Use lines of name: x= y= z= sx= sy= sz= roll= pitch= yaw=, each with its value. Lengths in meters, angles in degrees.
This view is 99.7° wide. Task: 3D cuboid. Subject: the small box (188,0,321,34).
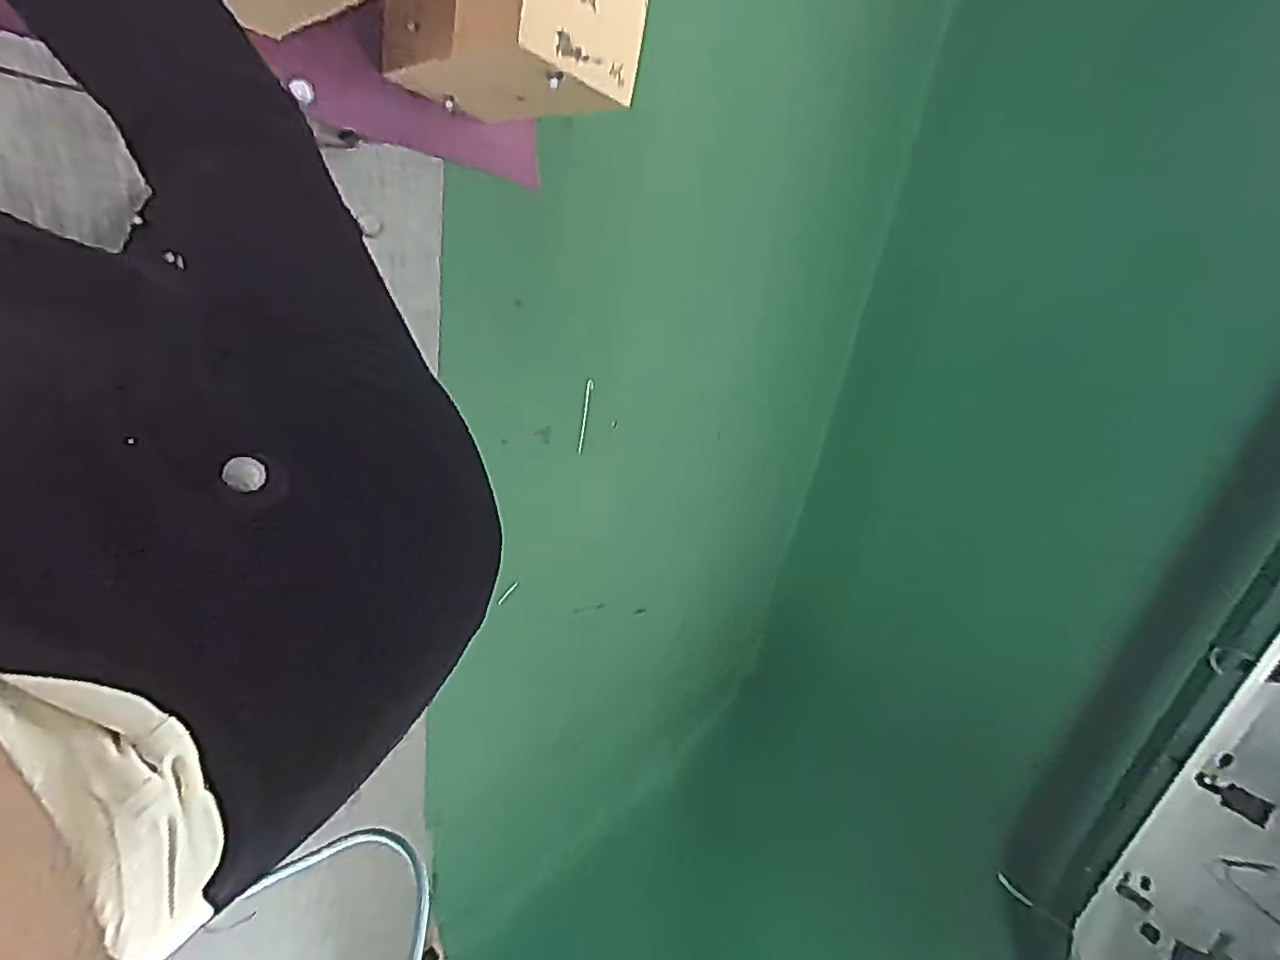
small box: x=-0.424 y=-0.575 z=0.522 sx=0.168 sy=0.176 sz=0.179 roll=-11 pitch=117 yaw=-46

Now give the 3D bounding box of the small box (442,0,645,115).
small box: x=-0.112 y=-0.554 z=0.624 sx=0.168 sy=0.176 sz=0.179 roll=-8 pitch=115 yaw=-46
